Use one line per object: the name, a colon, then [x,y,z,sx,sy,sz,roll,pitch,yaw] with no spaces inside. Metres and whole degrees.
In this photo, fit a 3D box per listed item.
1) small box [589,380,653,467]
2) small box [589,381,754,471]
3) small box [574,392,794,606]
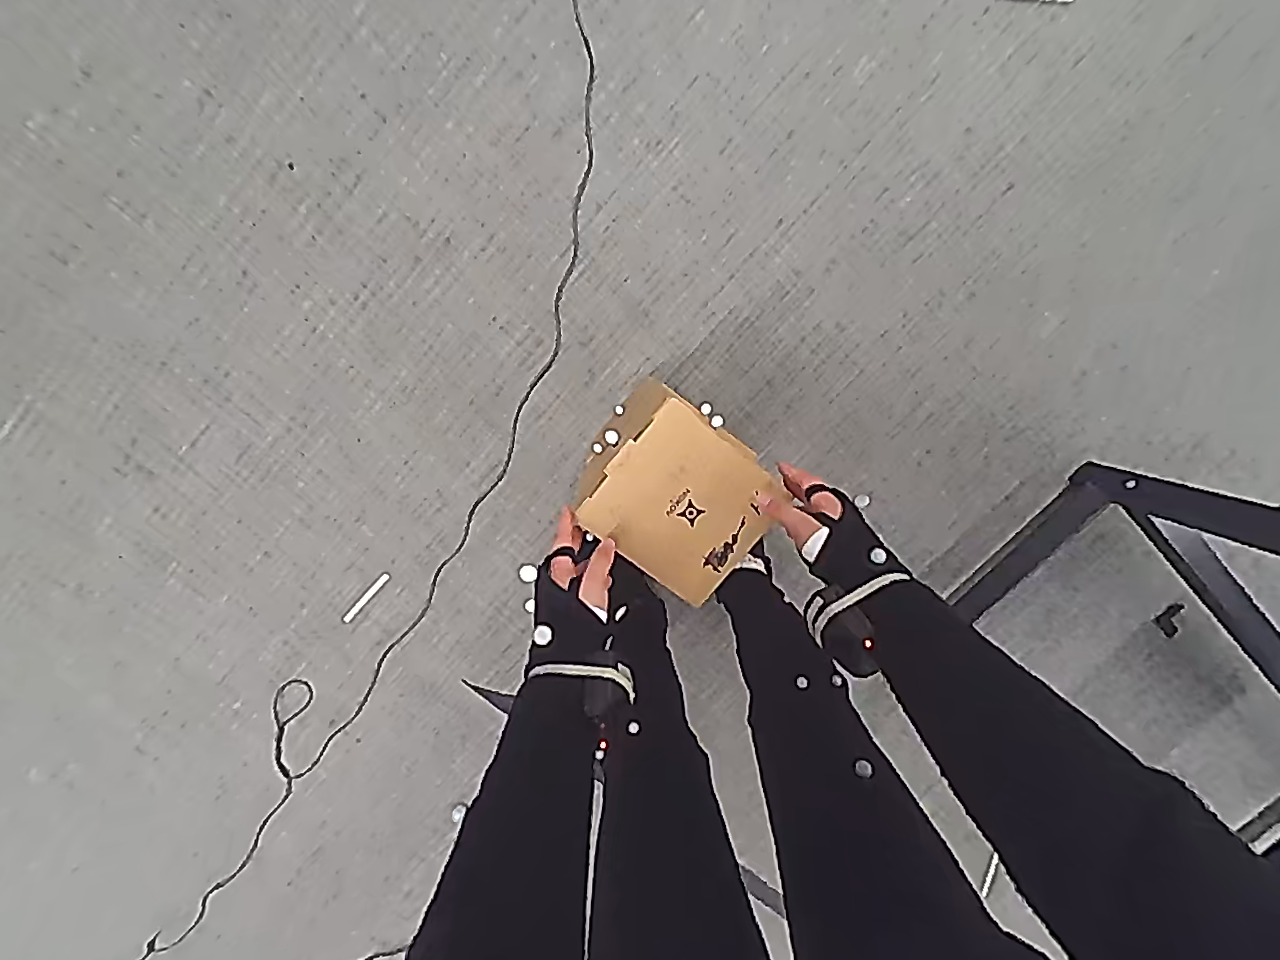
small box: [0.025,-0.061,0.960,0.168,0.176,0.179,38,100,-11]
small box: [0.036,-0.028,0.802,0.168,0.176,0.179,35,98,-11]
small box: [0.042,0.010,0.642,0.179,0.176,0.168,38,99,-11]
